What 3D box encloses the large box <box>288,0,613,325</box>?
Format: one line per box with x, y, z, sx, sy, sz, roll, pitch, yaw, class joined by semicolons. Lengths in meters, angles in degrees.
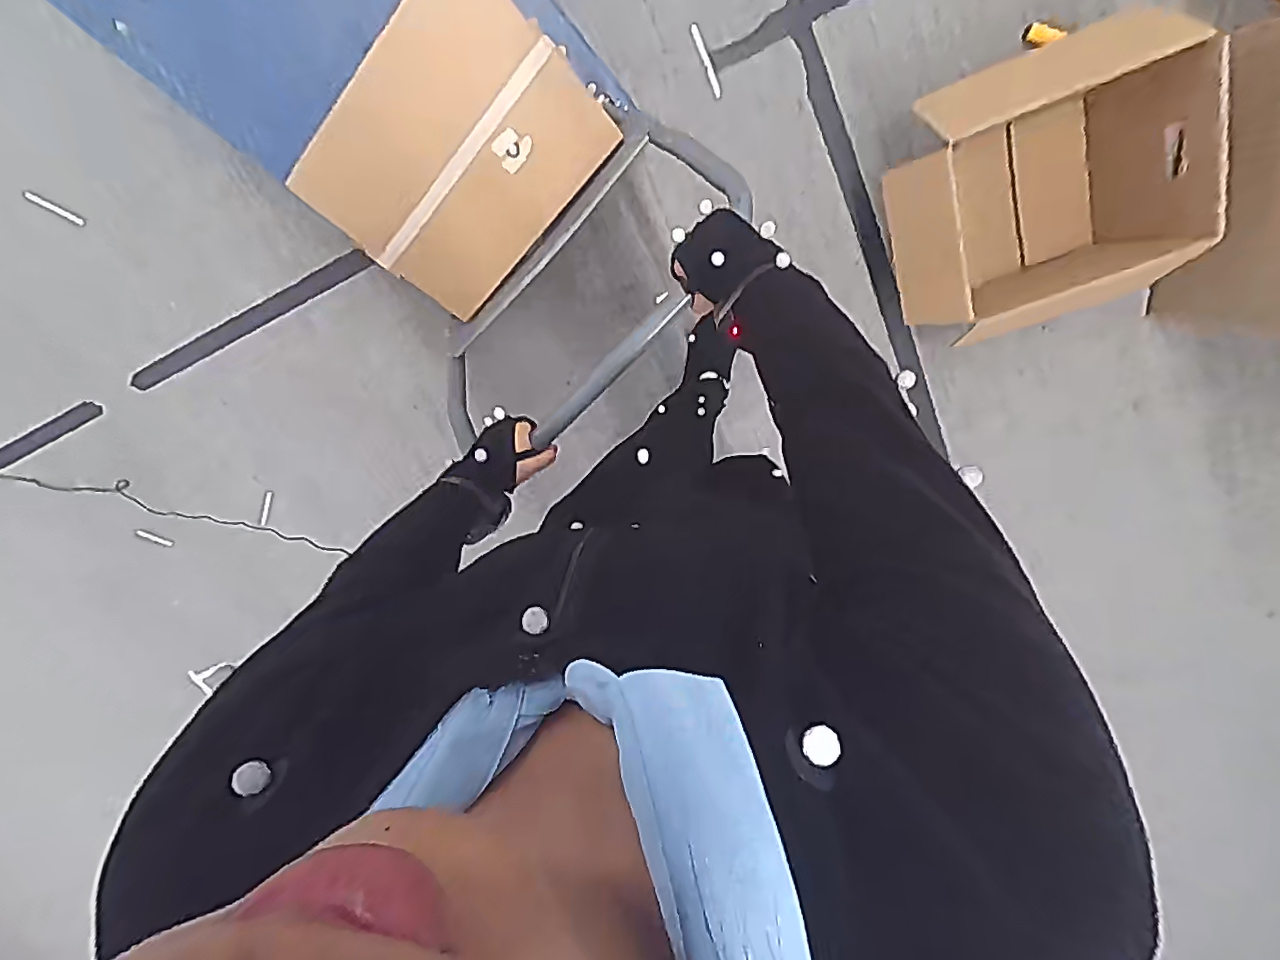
-0.311;-0.556;0.927;0.408;0.320;0.320;-44;126;16;large box
